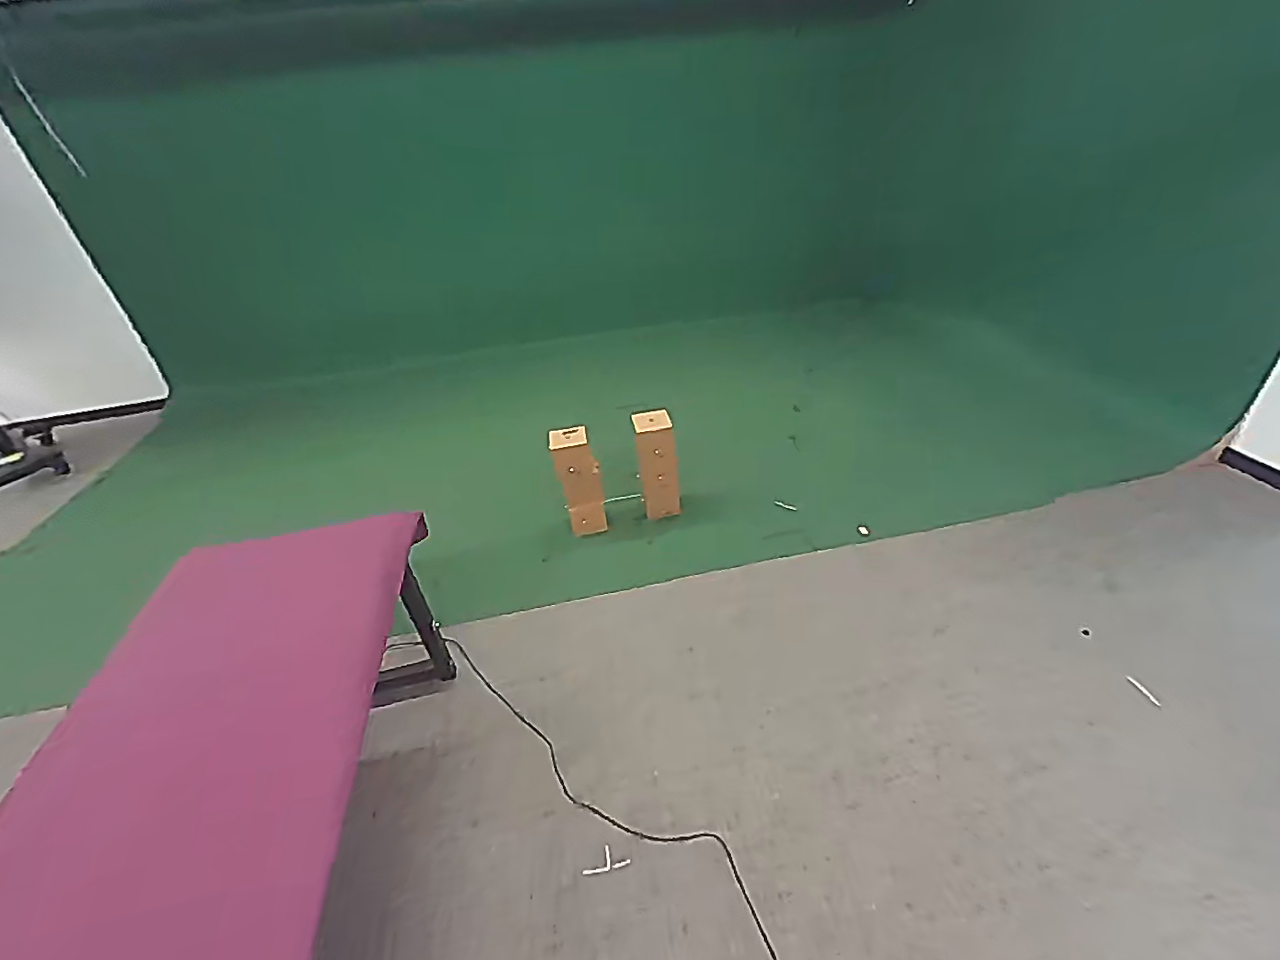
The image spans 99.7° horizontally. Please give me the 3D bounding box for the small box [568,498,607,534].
[{"bbox_3d":[-0.262,0.147,2.632,0.168,0.176,0.179,-12,34,-7],"label":"small box"}]

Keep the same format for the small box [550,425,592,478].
[{"bbox_3d":[-0.314,-0.128,2.462,0.168,0.176,0.179,-10,34,-4],"label":"small box"}]

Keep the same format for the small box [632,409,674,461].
[{"bbox_3d":[0.059,-0.207,2.506,0.168,0.176,0.179,-9,36,-4],"label":"small box"}]

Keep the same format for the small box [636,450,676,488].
[{"bbox_3d":[0.078,-0.072,2.599,0.168,0.176,0.179,-9,36,-6],"label":"small box"}]

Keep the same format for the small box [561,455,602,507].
[{"bbox_3d":[-0.281,0.005,2.554,0.179,0.176,0.168,-12,33,-7],"label":"small box"}]
